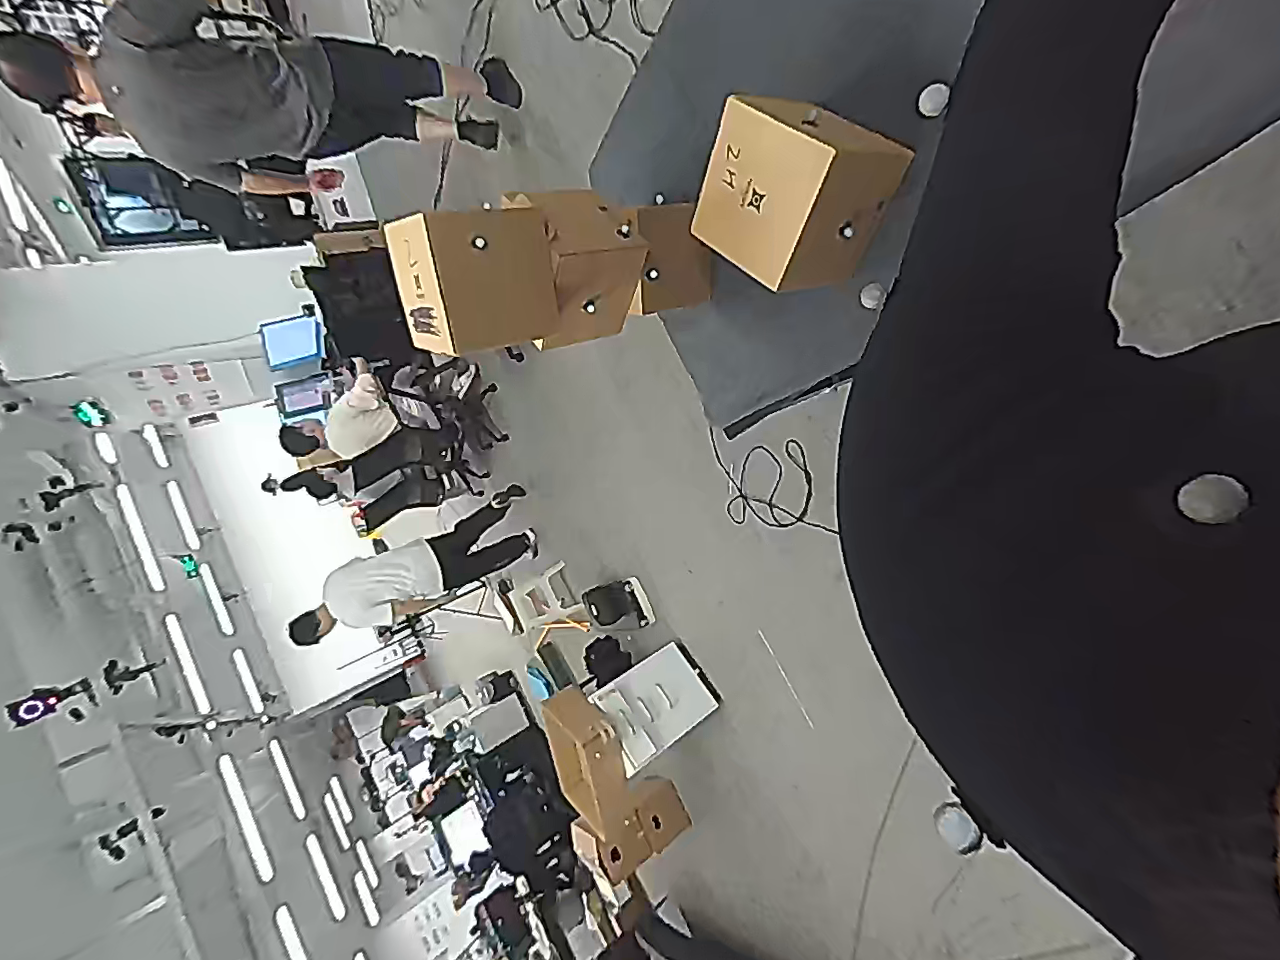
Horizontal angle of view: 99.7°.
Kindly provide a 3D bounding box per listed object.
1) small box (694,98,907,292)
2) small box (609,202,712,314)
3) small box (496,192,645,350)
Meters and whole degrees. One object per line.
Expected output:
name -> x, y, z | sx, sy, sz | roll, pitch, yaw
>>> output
small box -> 0.206, -0.374, 0.709 | 0.179, 0.176, 0.168 | 49, 142, 27
small box -> 0.012, -0.404, 0.972 | 0.179, 0.176, 0.168 | 27, 130, 45
small box -> -0.114, -0.346, 0.882 | 0.168, 0.176, 0.179 | 52, 145, 21
